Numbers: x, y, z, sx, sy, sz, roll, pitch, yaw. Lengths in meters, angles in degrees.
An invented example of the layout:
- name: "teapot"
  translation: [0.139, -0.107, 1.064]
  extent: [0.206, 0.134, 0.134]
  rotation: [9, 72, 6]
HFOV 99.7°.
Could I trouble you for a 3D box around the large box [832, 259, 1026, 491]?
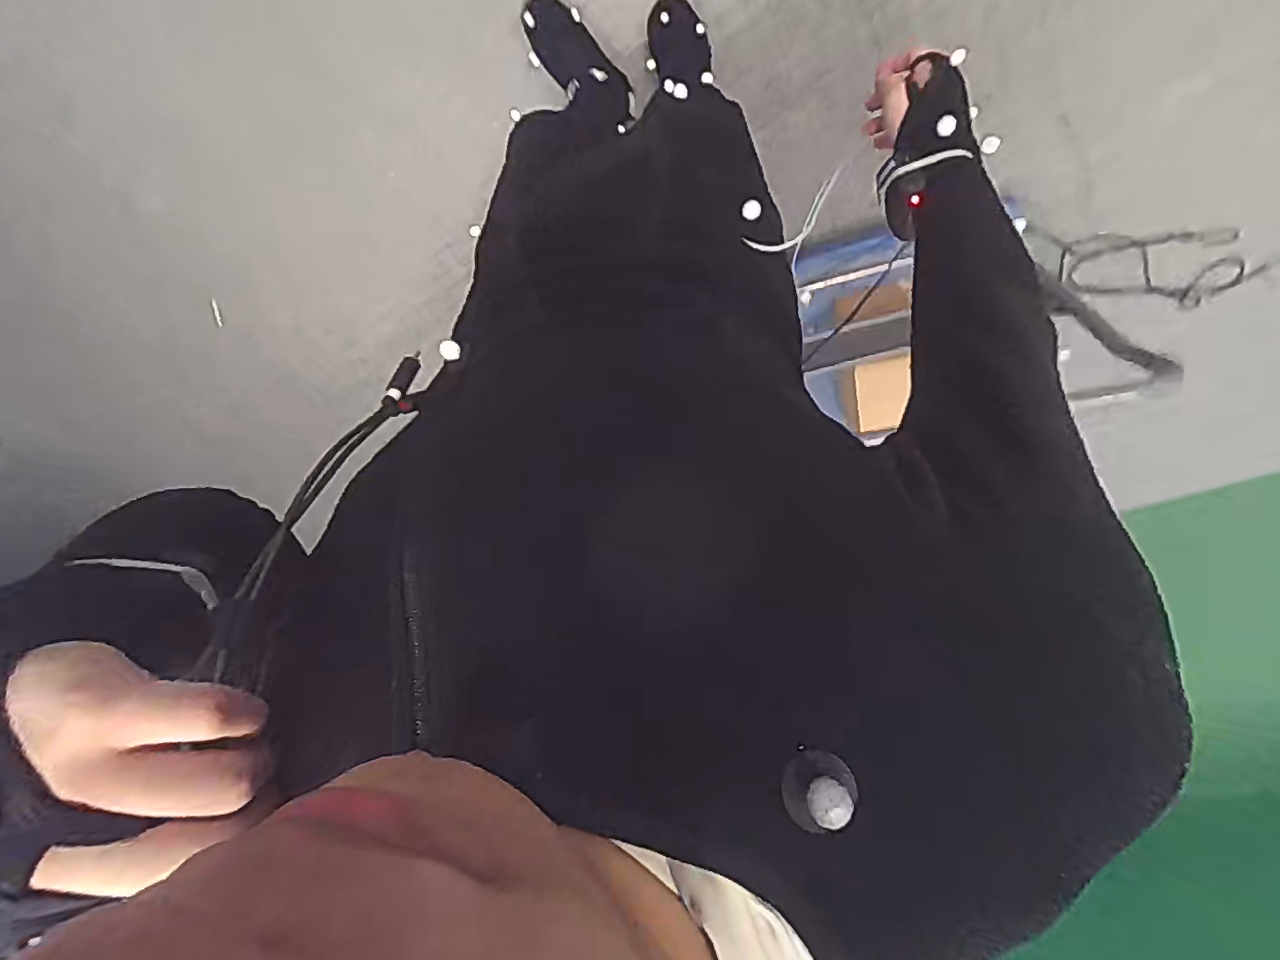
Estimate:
- name: "large box"
  translation: [0.666, -0.241, 1.294]
  extent: [0.320, 0.320, 0.408]
  rotation: [-10, 132, 18]
